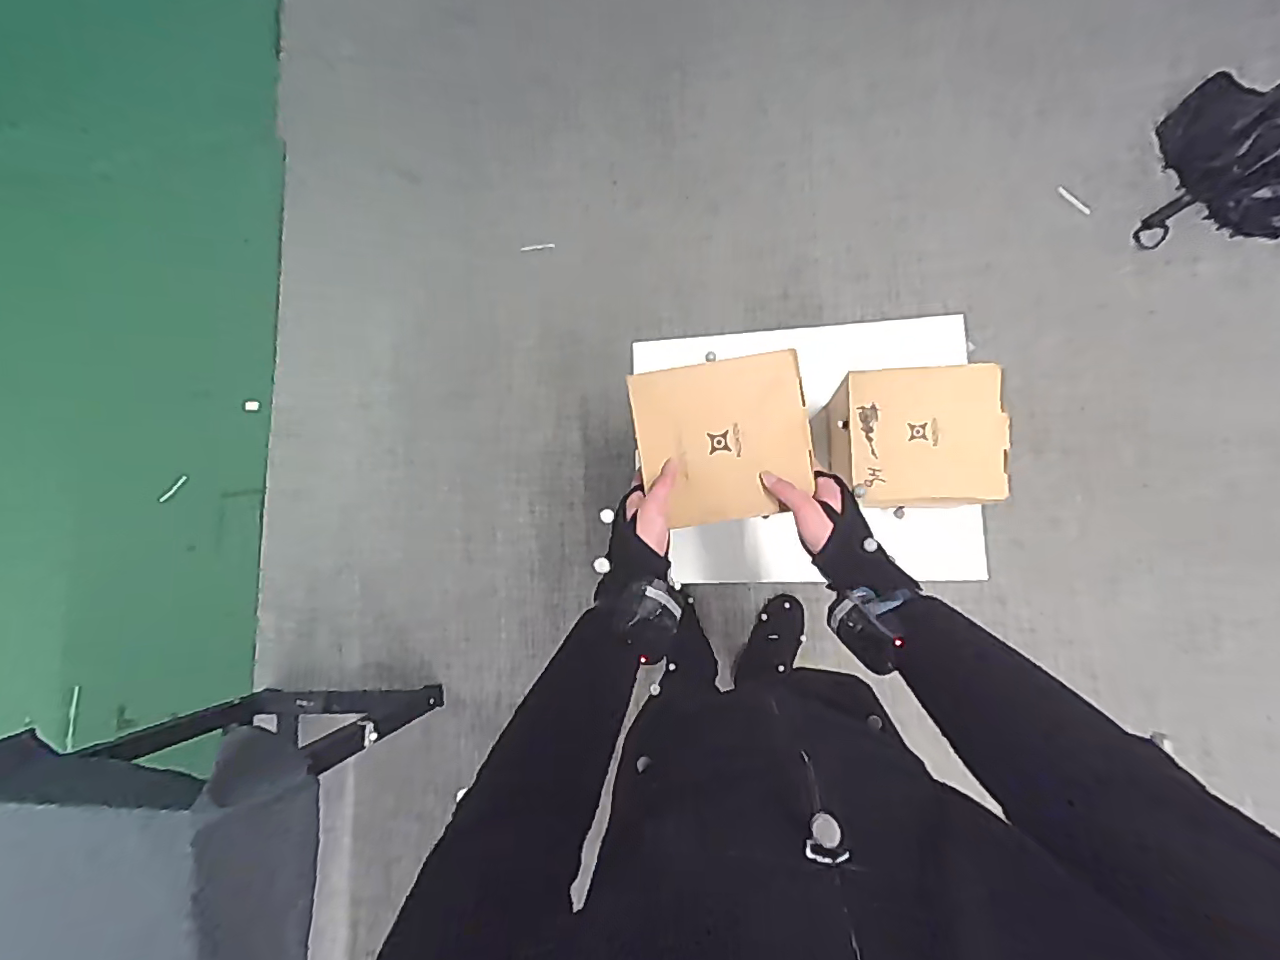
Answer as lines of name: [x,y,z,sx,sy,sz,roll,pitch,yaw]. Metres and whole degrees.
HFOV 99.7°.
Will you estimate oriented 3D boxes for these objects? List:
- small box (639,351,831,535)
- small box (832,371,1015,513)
small box: [0.099,-0.043,0.619,0.179,0.176,0.168,-9,94,4]
small box: [0.365,-0.043,0.726,0.179,0.176,0.168,0,84,10]
